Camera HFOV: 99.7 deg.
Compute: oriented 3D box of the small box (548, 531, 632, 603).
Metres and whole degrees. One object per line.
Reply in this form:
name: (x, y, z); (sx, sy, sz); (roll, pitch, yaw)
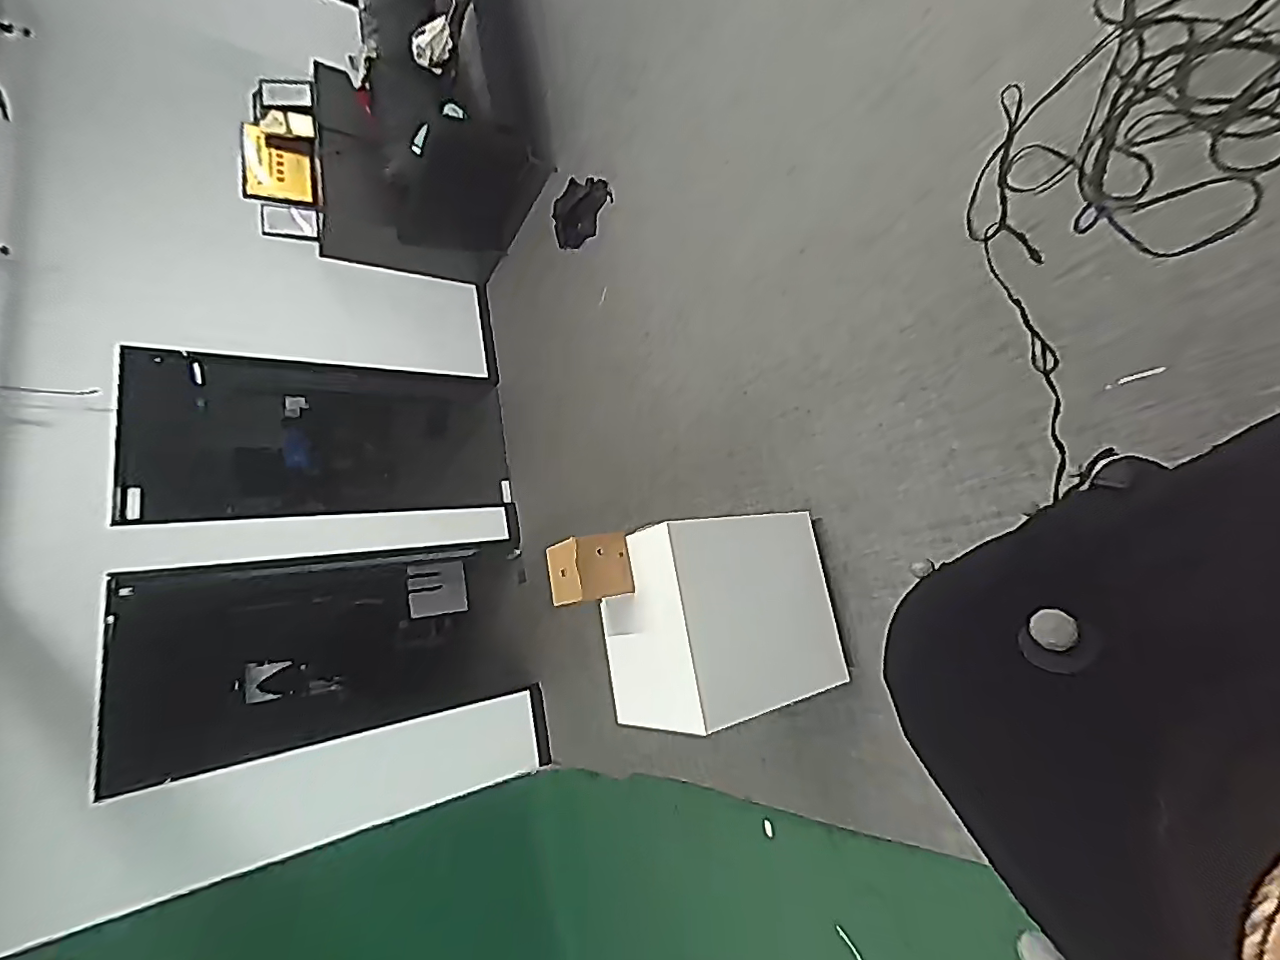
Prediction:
small box: (-0.133, 0.241, 1.499); (0.179, 0.176, 0.168); (-28, 68, 53)
